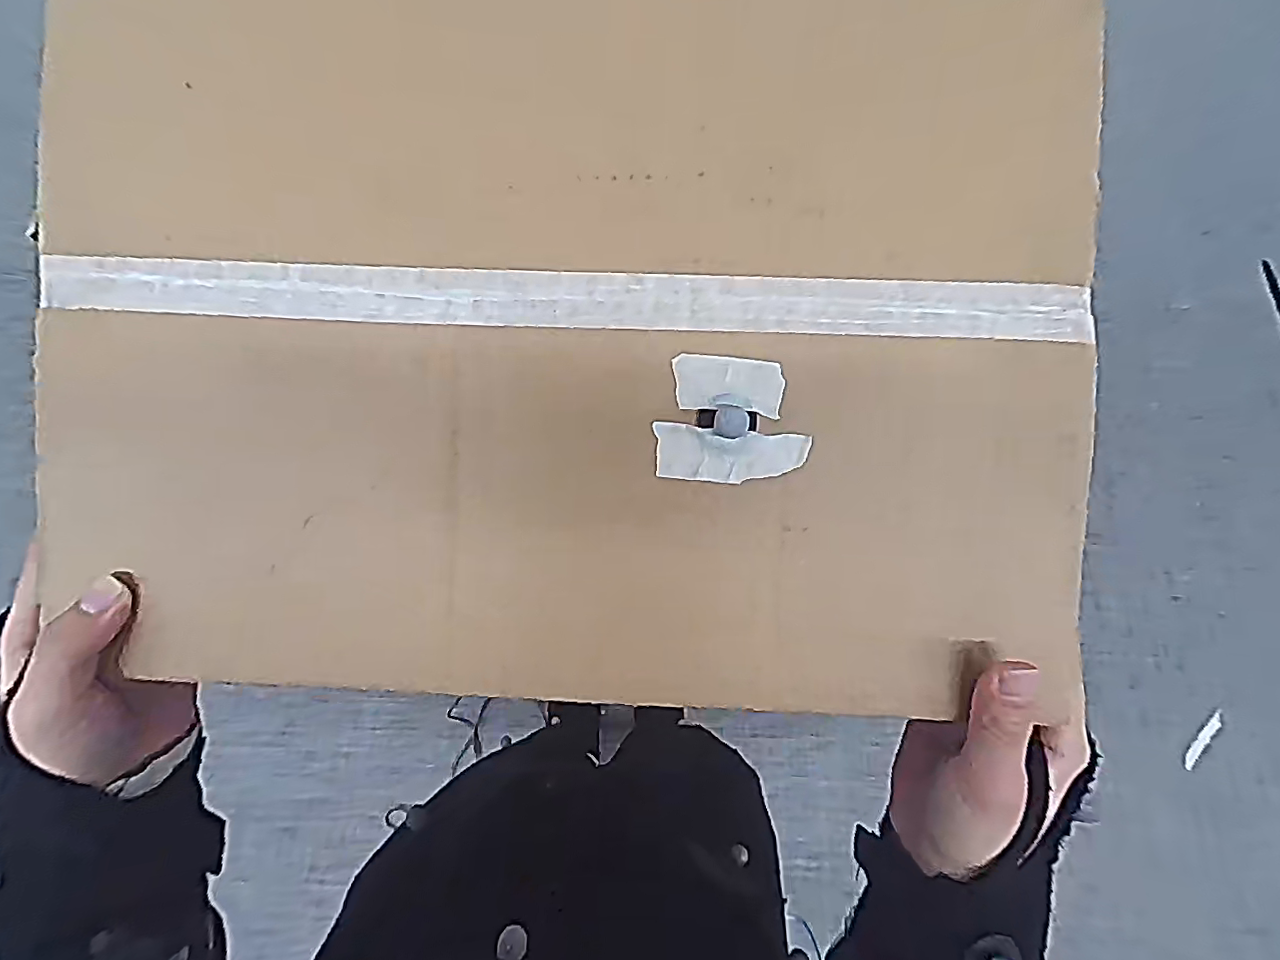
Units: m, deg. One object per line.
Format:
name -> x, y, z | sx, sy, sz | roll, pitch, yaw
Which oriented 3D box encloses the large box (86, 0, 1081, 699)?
large box -> -0.025, -0.067, 0.371 | 0.408, 0.320, 0.320 | 2, 91, 0
